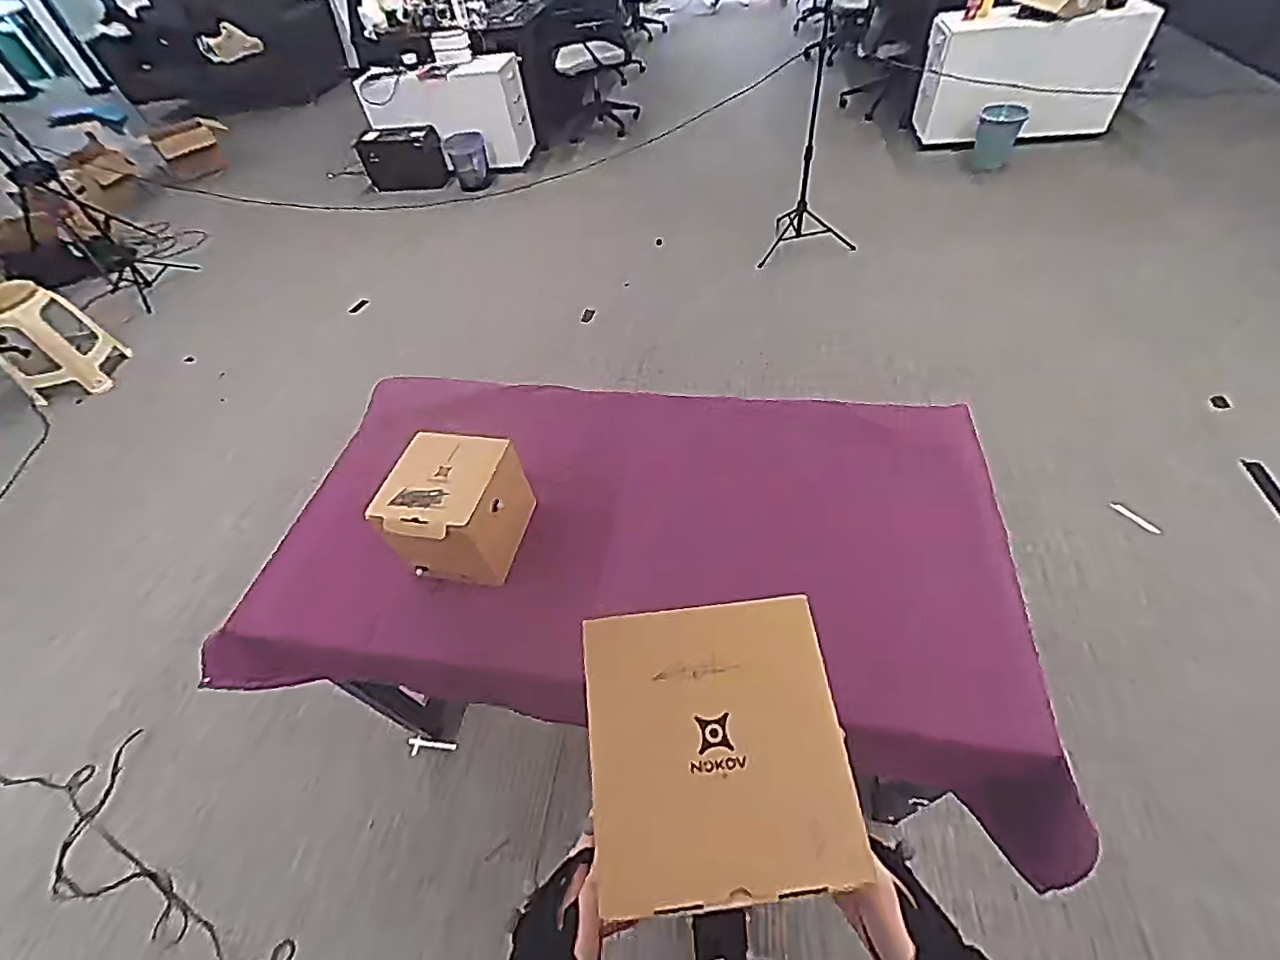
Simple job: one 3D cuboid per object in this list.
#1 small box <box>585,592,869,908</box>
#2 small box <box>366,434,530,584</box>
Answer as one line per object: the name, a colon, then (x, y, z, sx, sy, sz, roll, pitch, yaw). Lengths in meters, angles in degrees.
small box: (0.051, 0.202, 0.425, 0.168, 0.176, 0.179, -5, 61, -2)
small box: (-0.294, 0.049, 0.877, 0.168, 0.176, 0.179, 6, 51, 12)
